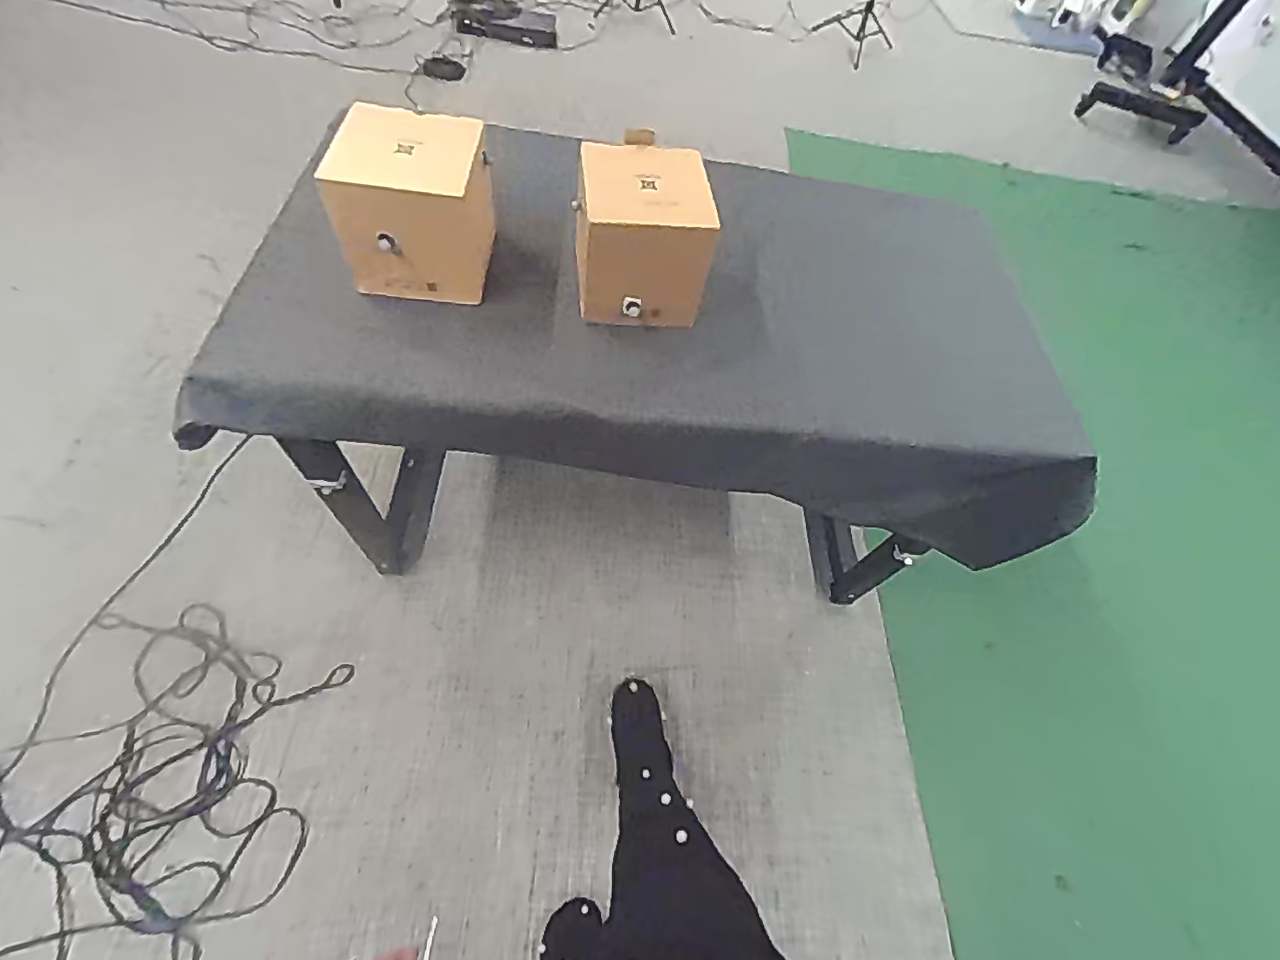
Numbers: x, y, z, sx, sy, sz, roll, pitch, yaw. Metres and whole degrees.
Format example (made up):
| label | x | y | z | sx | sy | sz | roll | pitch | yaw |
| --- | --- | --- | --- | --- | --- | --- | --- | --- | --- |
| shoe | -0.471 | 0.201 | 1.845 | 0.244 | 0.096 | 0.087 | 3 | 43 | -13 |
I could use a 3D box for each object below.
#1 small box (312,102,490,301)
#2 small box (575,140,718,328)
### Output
| label | x | y | z | sx | sy | sz | roll | pitch | yaw |
| --- | --- | --- | --- | --- | --- | --- | --- | --- | --- |
| small box | -0.300 | -0.364 | 0.725 | 0.168 | 0.176 | 0.179 | 4 | 58 | -7 |
| small box | -0.003 | -0.339 | 0.760 | 0.168 | 0.176 | 0.179 | -2 | 60 | -9 |
